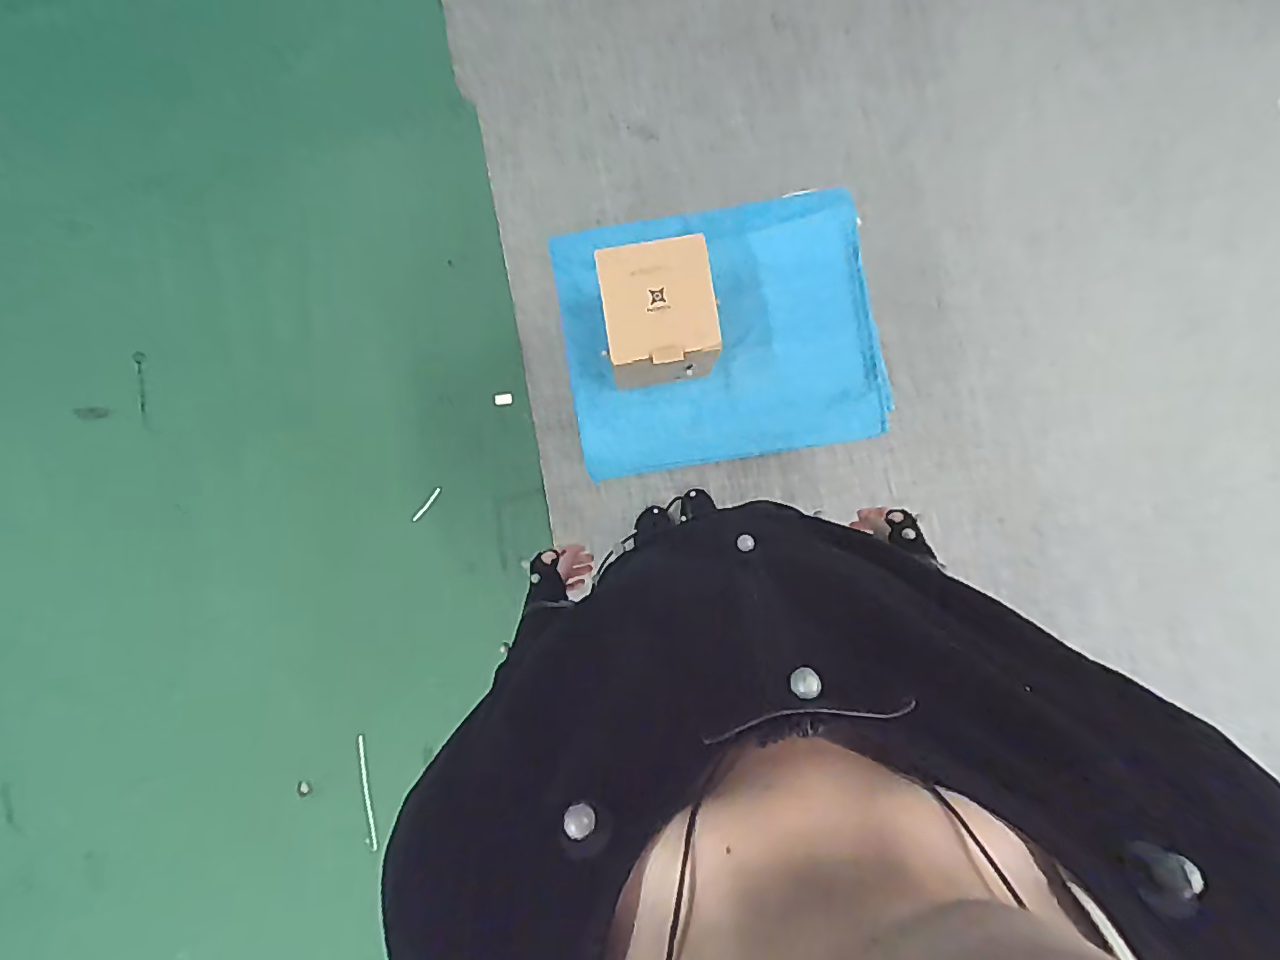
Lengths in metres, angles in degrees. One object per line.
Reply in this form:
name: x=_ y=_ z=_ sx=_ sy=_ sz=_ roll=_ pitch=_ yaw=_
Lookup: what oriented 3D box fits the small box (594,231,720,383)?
small box: x=0.025 y=-0.259 z=0.852 sx=0.168 sy=0.176 sz=0.179 roll=-8 pitch=86 yaw=0
